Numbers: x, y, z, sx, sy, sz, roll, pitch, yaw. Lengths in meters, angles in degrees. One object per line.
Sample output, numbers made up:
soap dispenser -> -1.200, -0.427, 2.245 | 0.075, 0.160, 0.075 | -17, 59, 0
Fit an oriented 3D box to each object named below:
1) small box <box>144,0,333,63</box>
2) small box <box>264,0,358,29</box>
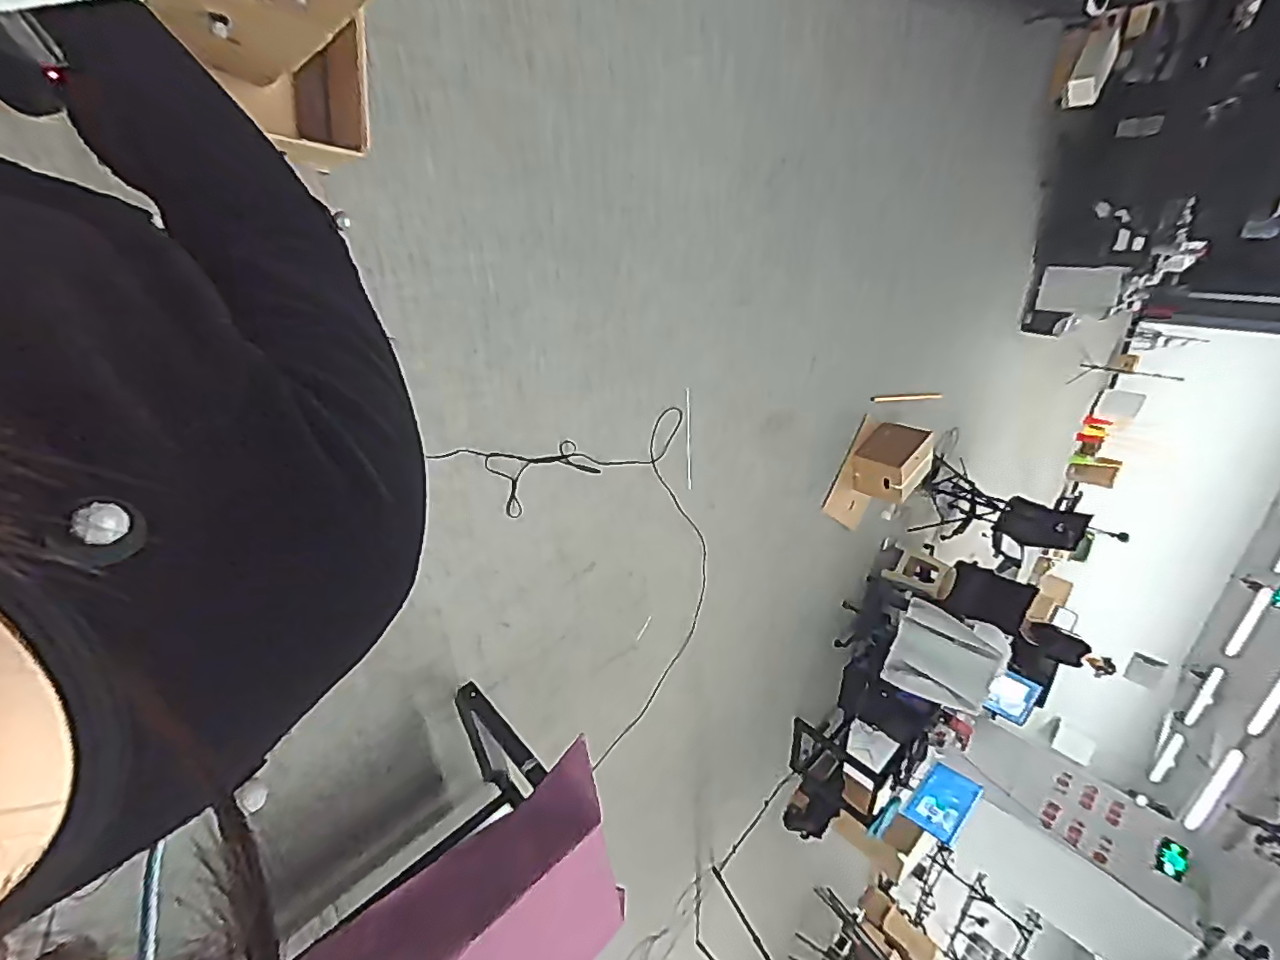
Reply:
small box -> -0.401, -0.544, 0.517 | 0.168, 0.176, 0.179 | -3, 111, -43
small box -> -0.294, -0.491, 0.405 | 0.168, 0.176, 0.179 | -3, 109, -44
